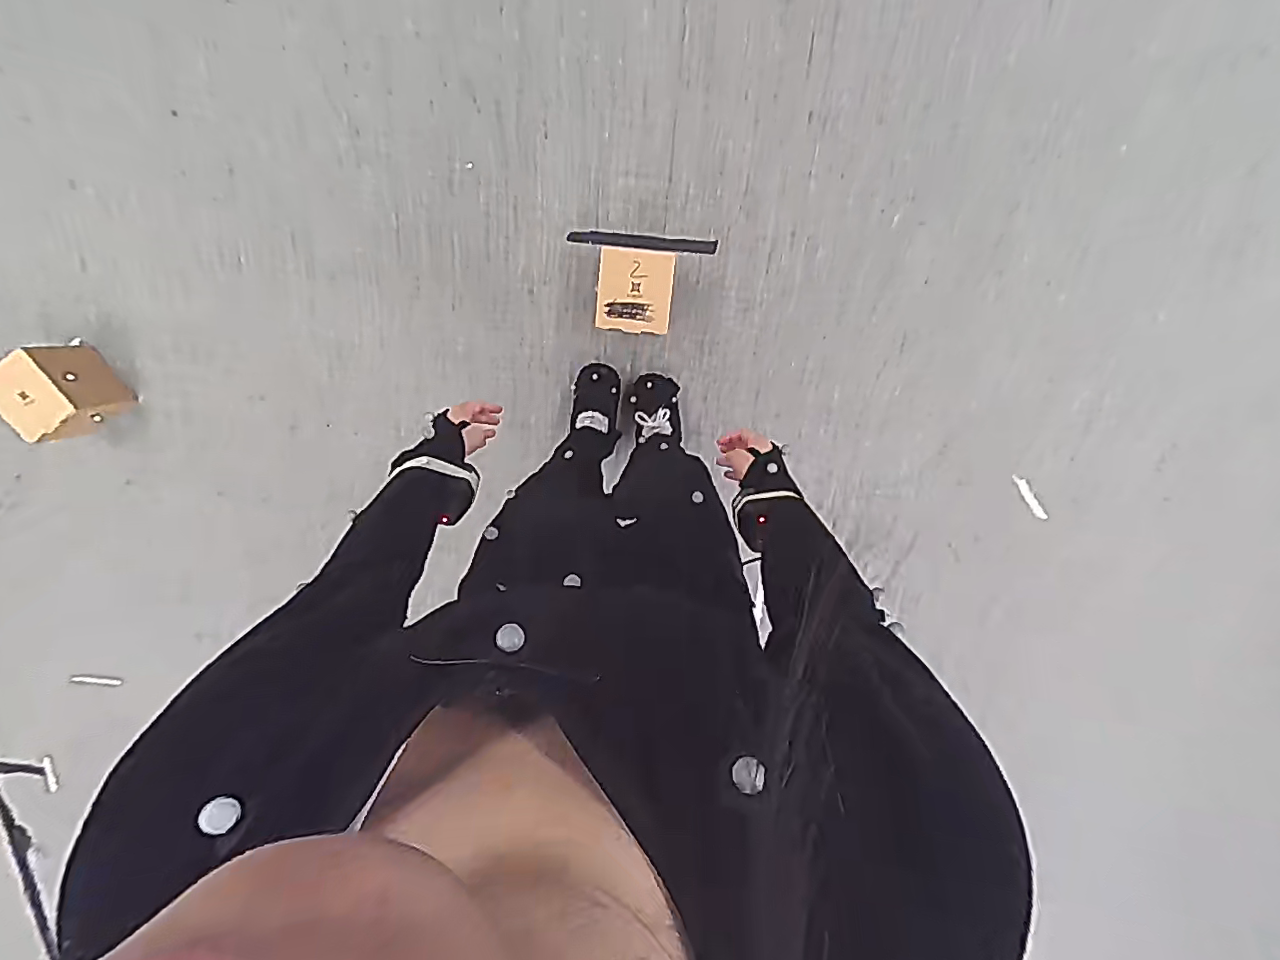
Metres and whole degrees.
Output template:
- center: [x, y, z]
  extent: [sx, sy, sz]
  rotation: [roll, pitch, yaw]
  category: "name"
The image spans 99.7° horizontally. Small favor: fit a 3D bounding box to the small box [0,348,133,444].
- center: [-1.448, -0.217, 1.350]
  extent: [0.168, 0.176, 0.179]
  rotation: [-31, 103, 8]
  category: "small box"
